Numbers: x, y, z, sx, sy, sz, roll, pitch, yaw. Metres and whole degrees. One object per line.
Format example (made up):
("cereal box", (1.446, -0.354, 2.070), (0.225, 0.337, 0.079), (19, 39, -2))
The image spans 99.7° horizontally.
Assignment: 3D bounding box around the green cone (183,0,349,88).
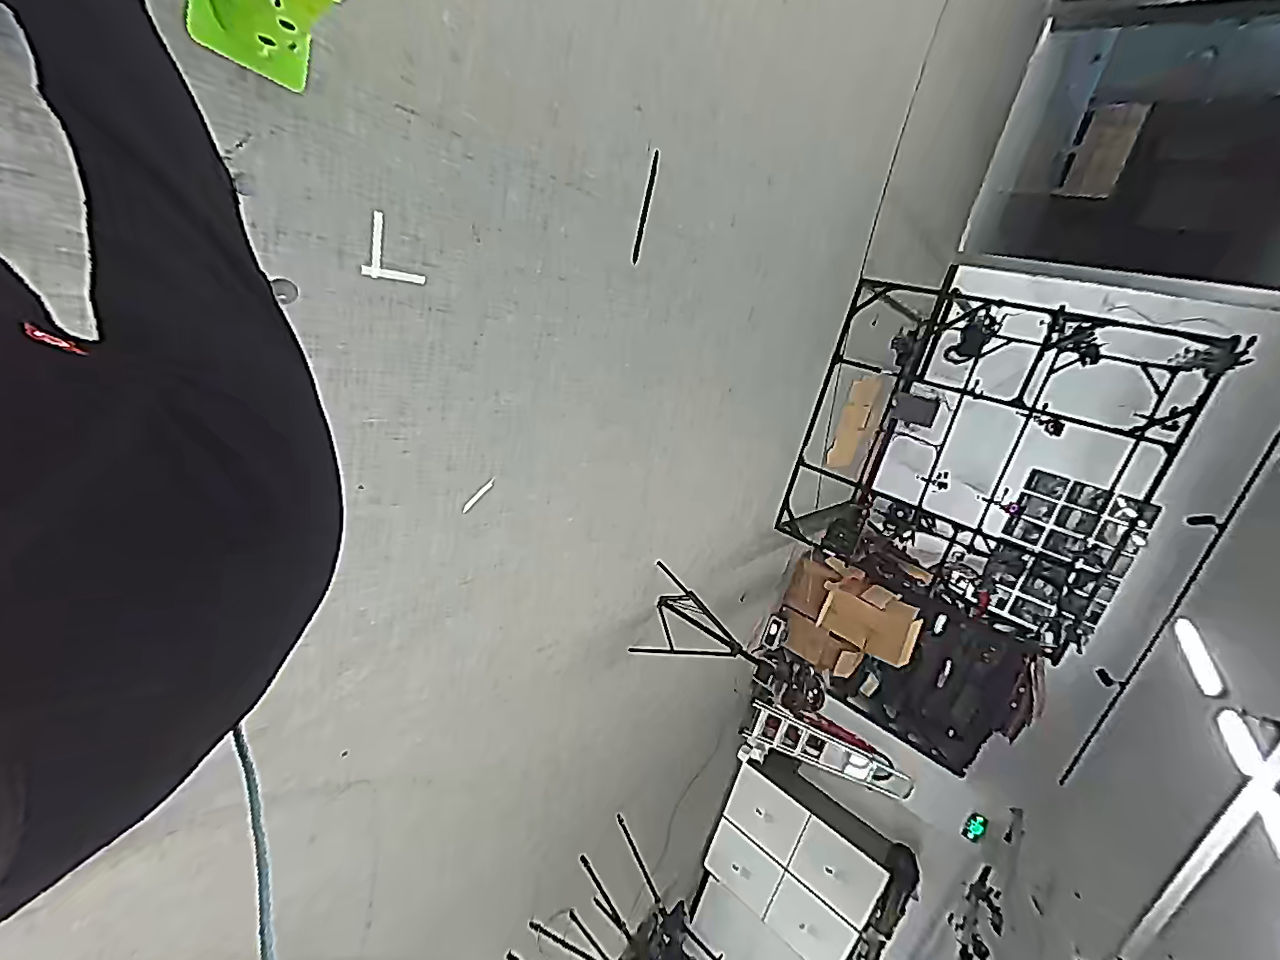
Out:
("green cone", (-0.626, -0.851, 0.958), (0.202, 0.368, 0.200), (-3, 114, -55))
